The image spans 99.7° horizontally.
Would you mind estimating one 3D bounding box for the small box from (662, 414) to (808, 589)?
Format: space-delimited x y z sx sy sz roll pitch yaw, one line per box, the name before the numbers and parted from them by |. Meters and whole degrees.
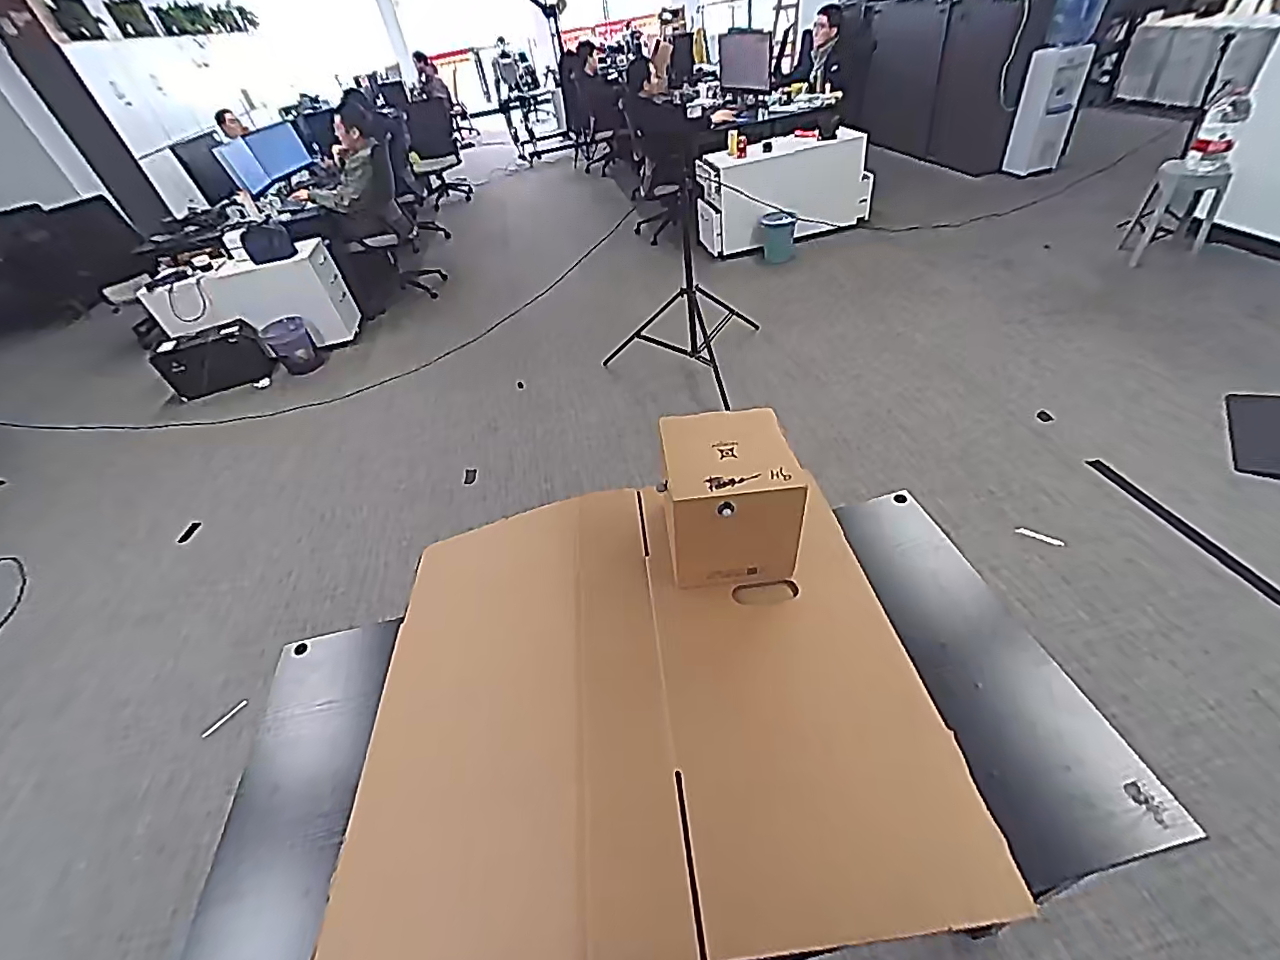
small box | 0.122 0.029 0.761 0.168 0.176 0.179 -7 39 0
